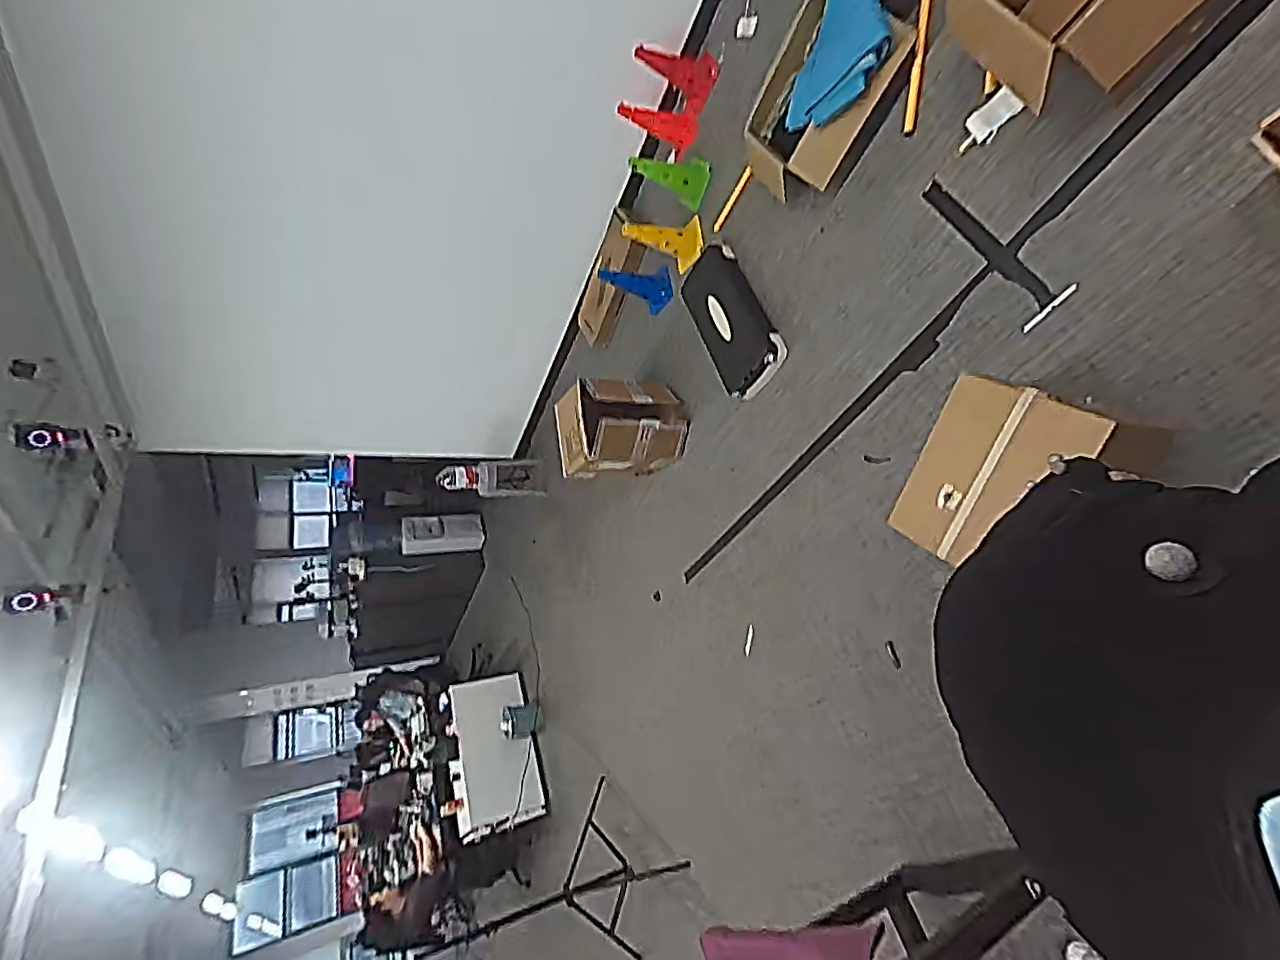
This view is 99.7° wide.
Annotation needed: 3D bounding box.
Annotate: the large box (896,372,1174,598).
[{"bbox_3d":[0.876,-0.003,1.233,0.320,0.320,0.408,45,129,50],"label":"large box"}]
